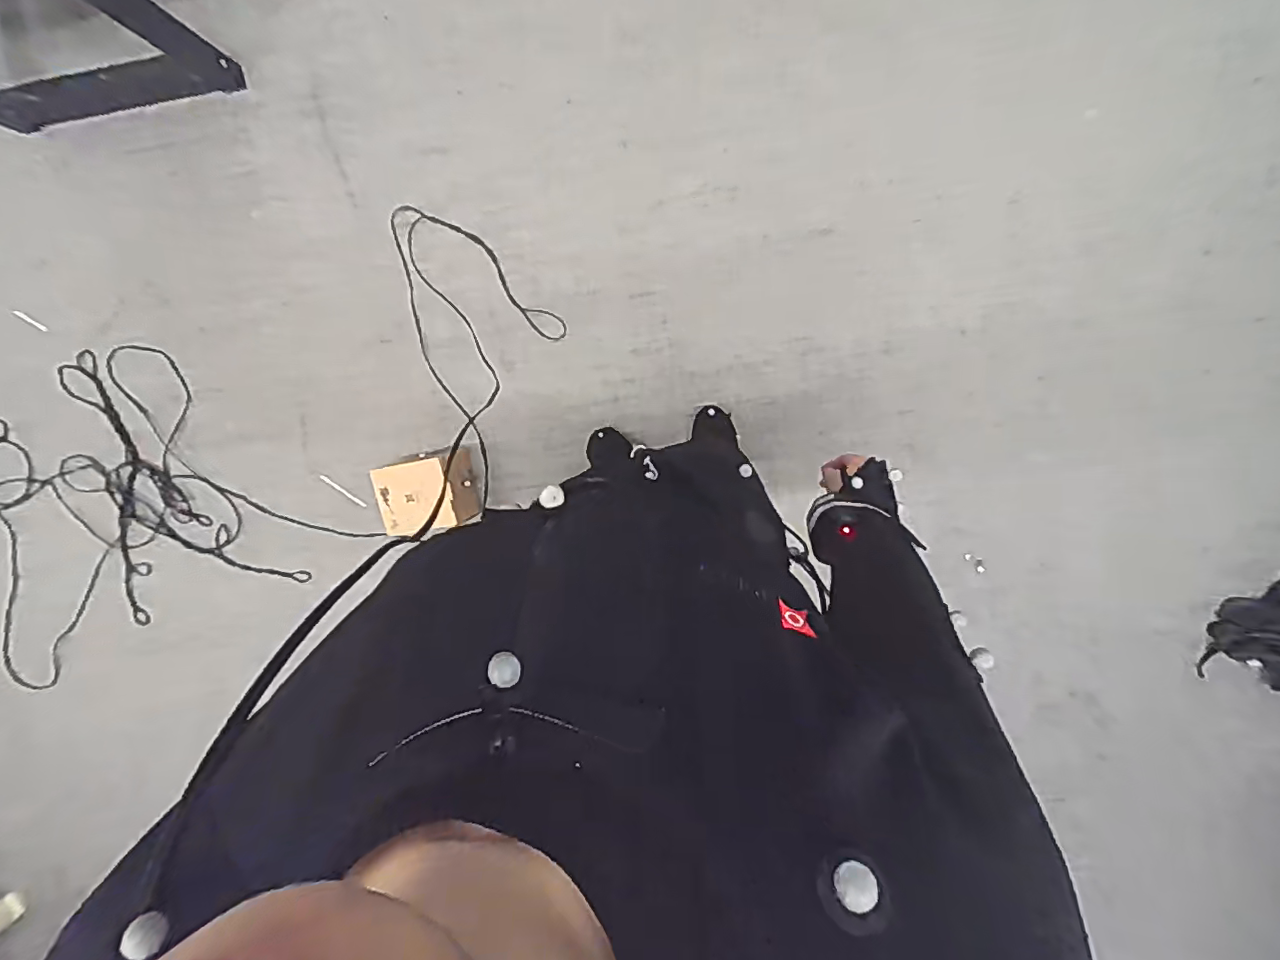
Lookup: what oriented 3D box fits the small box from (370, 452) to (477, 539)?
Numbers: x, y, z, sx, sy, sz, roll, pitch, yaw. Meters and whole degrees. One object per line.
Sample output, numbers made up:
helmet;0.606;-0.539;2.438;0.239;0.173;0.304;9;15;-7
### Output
small box;-0.514;0.032;1.318;0.179;0.176;0.168;-10;99;5
